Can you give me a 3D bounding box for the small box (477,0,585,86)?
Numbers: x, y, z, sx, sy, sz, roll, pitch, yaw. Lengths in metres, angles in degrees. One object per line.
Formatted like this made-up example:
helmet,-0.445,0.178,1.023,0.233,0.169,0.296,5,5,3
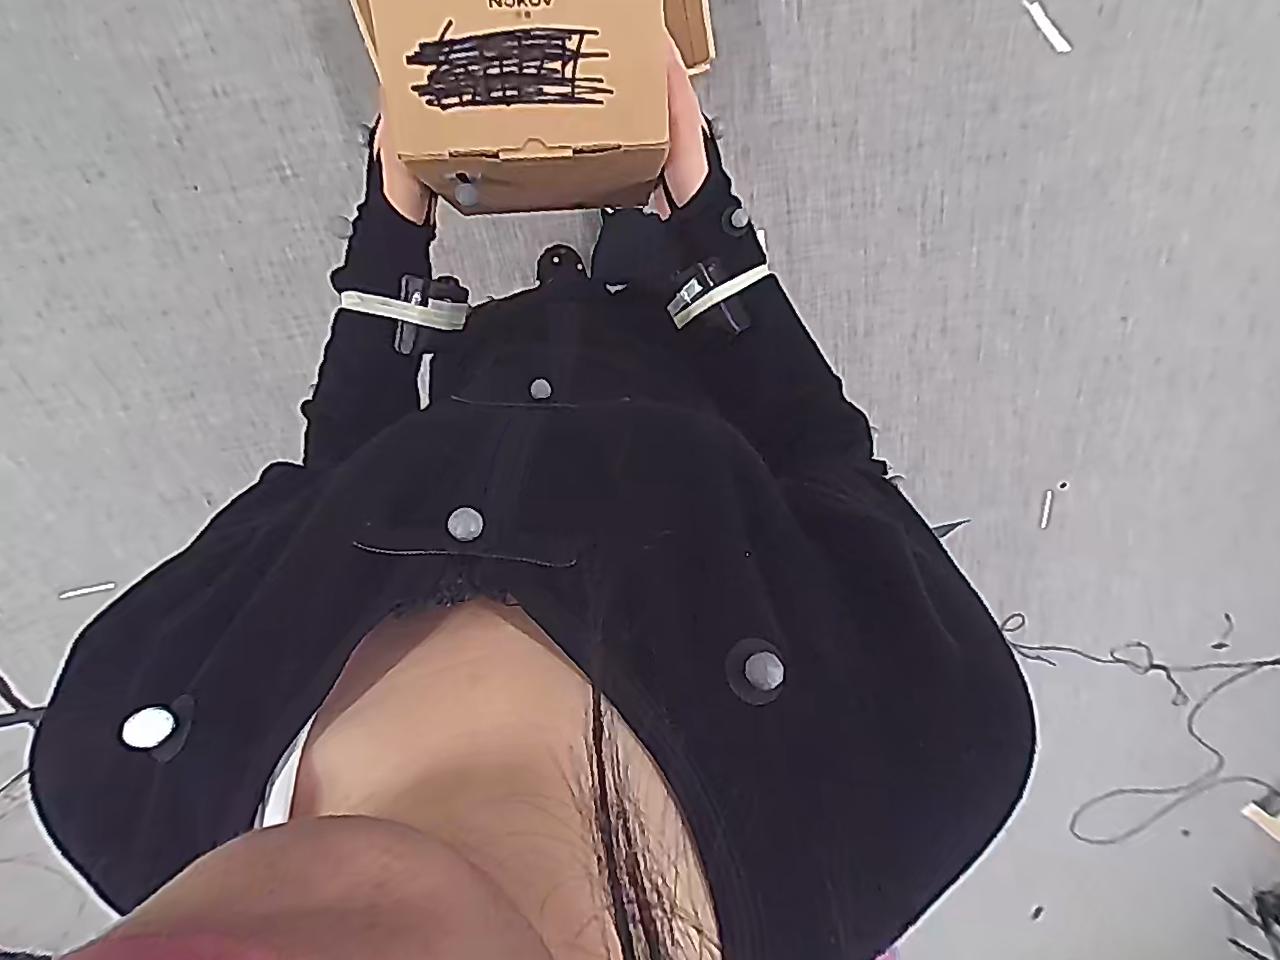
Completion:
small box,-0.212,-0.882,1.014,0.168,0.176,0.179,-19,116,3
